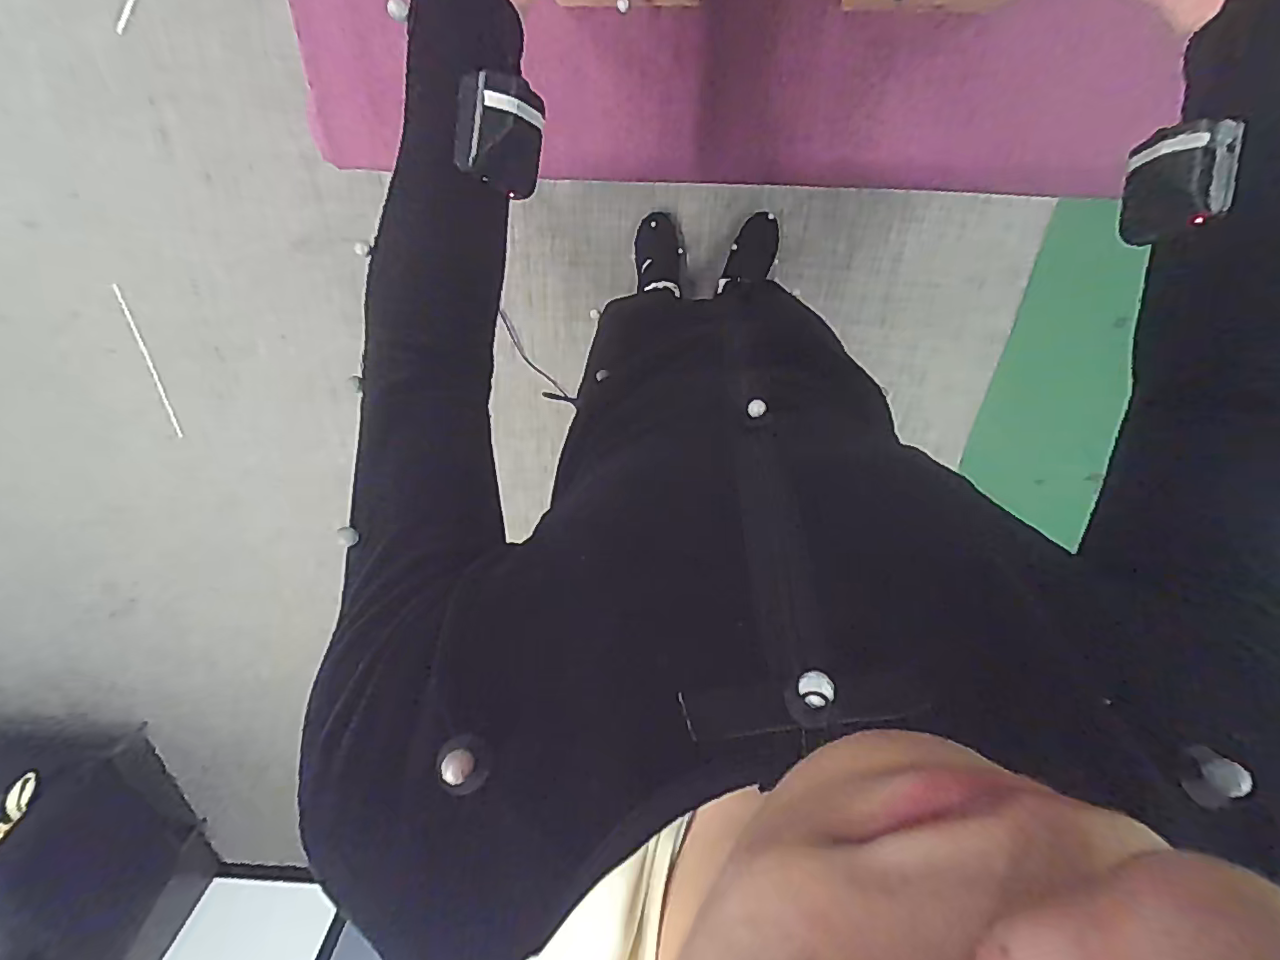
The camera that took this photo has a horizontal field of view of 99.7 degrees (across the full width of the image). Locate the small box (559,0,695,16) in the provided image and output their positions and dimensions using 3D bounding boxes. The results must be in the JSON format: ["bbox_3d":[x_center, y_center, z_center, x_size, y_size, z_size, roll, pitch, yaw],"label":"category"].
[{"bbox_3d":[-0.020,-0.578,0.513,0.168,0.176,0.179,2,119,2],"label":"small box"}]

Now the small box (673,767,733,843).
[{"bbox_3d":[0.215,1.136,1.894,0.179,0.176,0.168,7,119,-2],"label":"small box"}]
